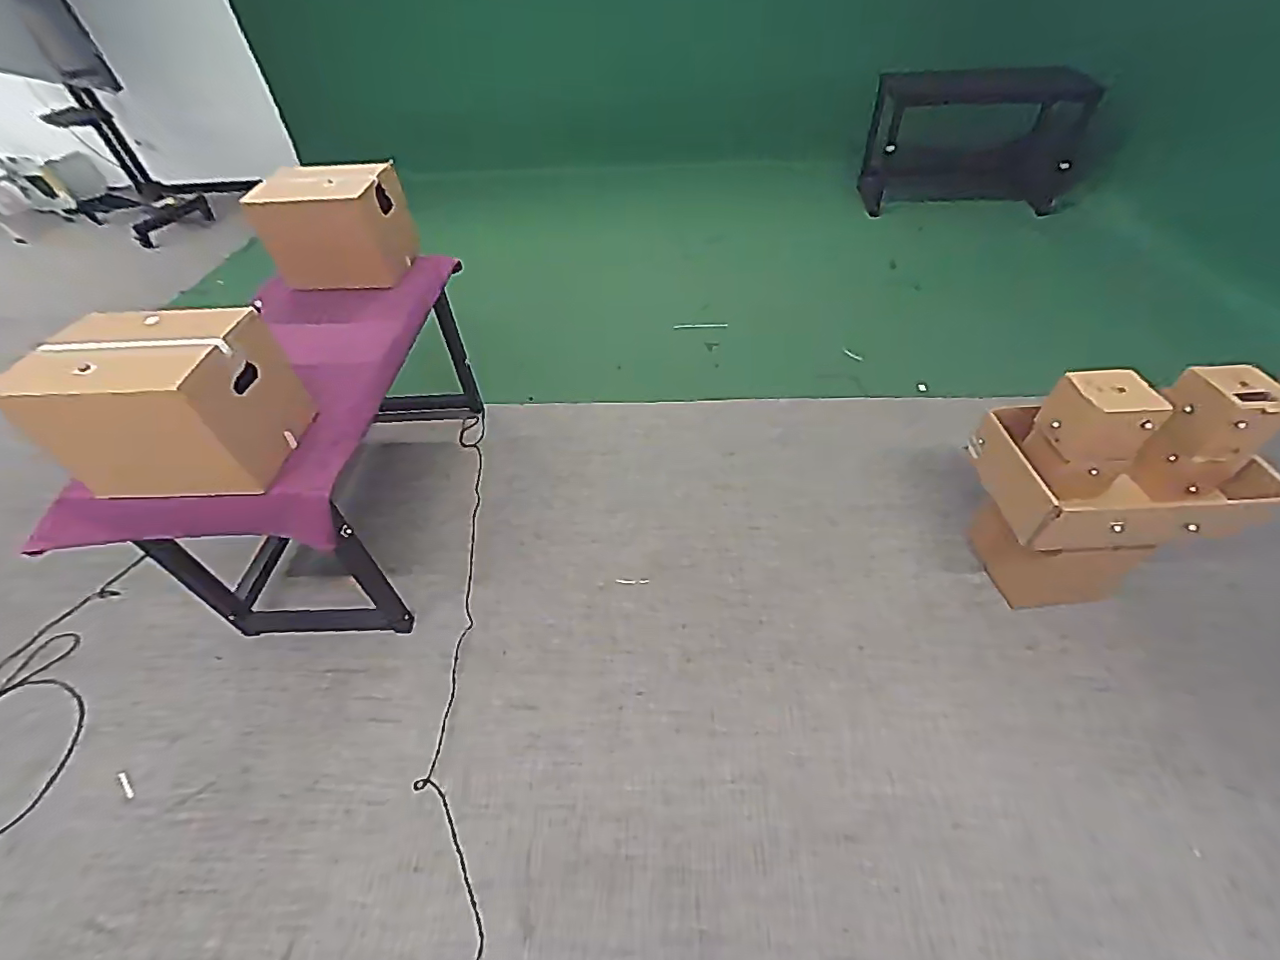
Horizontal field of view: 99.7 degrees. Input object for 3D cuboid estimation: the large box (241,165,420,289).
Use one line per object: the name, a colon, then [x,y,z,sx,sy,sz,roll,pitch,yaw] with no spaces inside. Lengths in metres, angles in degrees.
large box: [-1.065,-0.895,1.916,0.408,0.320,0.320,0,49,3]

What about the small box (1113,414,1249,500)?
small box: [1.507,-0.063,1.523,0.168,0.176,0.179,-5,48,-3]

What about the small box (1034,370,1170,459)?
small box: [1.186,-0.168,1.406,0.179,0.176,0.168,-2,46,1]
